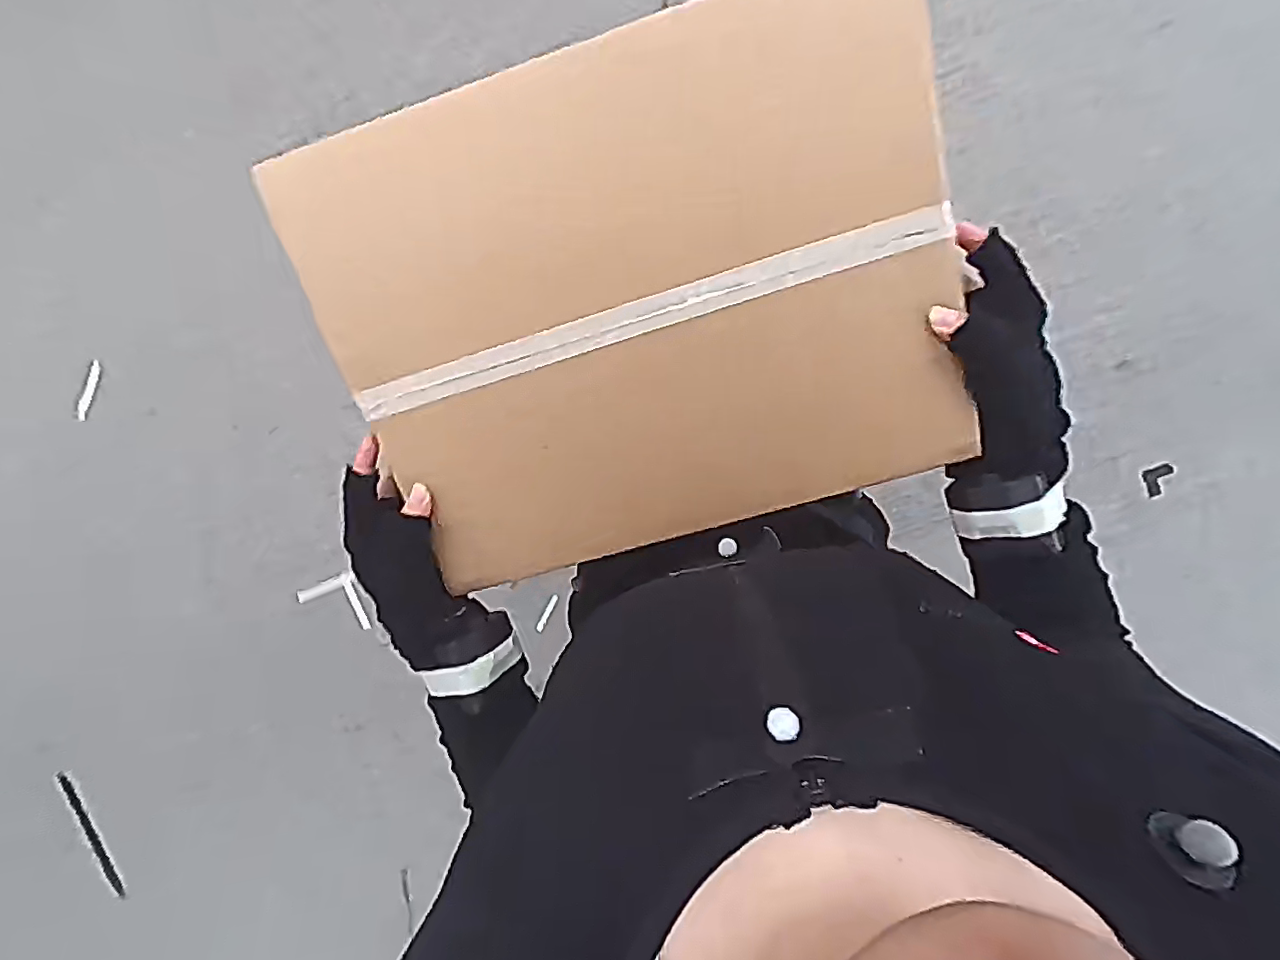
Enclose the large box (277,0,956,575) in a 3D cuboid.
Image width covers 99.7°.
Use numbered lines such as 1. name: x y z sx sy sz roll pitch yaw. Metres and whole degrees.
1. large box: -0.002 -0.160 0.509 0.408 0.320 0.320 -16 108 6
